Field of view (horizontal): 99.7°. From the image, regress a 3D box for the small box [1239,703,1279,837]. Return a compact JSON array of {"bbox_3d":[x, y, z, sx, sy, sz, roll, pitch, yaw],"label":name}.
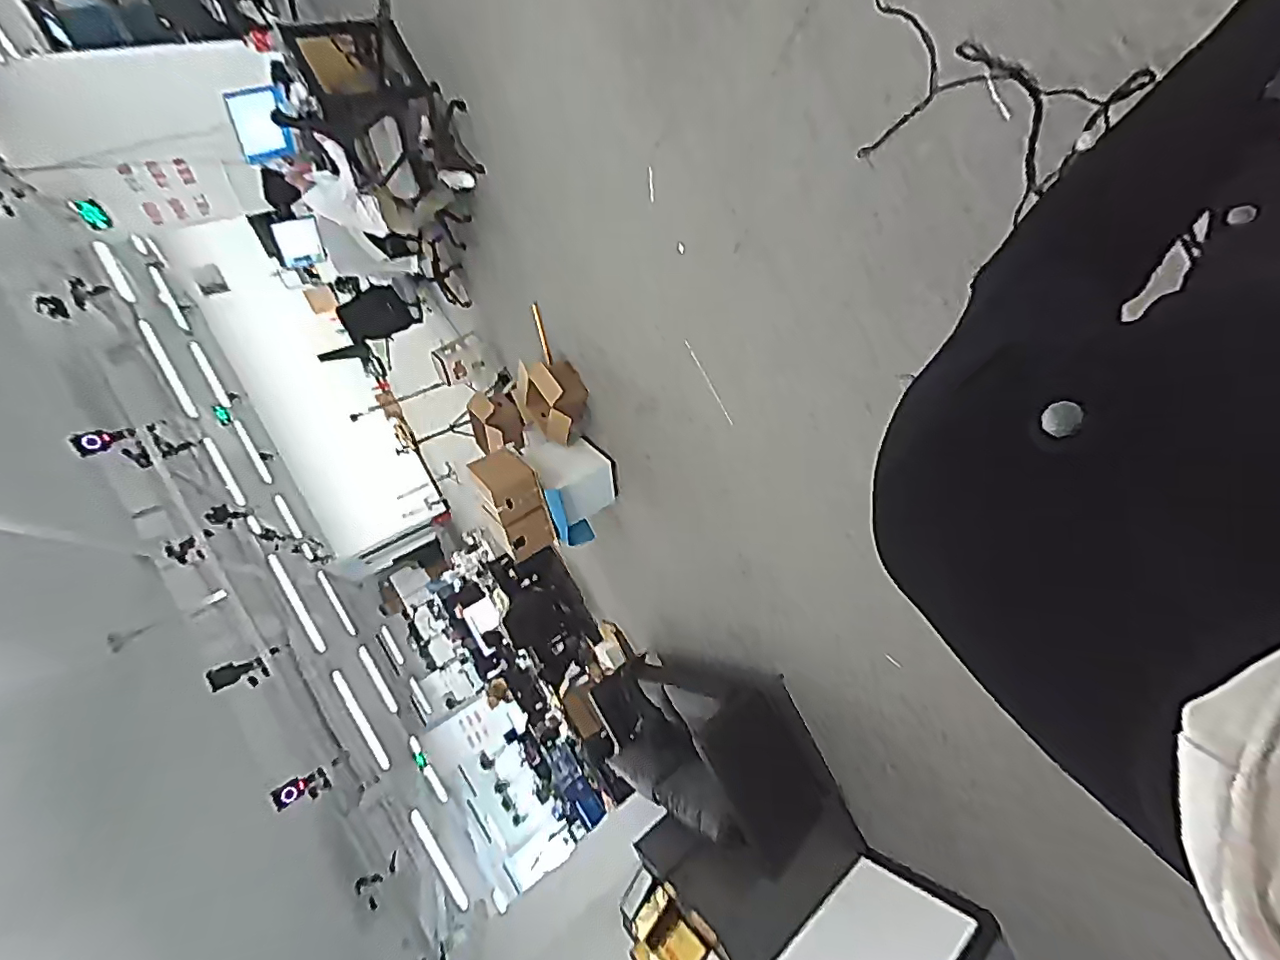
[{"bbox_3d":[1.216,0.527,0.940,0.179,0.176,0.168,63,155,-2],"label":"small box"}]
